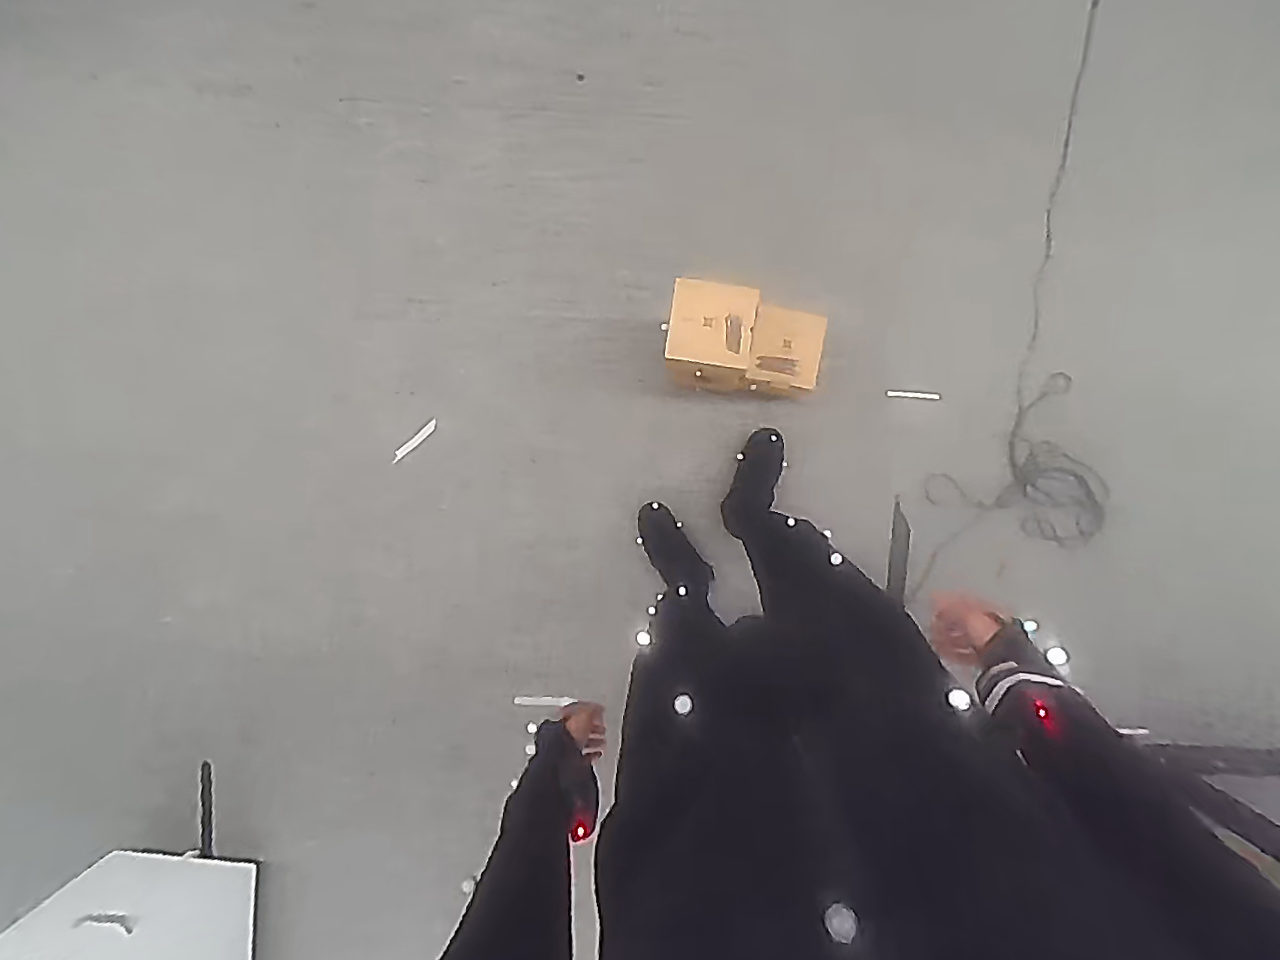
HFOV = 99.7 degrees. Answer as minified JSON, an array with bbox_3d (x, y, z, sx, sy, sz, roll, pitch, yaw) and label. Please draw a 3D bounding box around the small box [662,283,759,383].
[{"bbox_3d":[0.147,-0.310,1.176,0.179,0.176,0.168,8,92,2],"label":"small box"}]
